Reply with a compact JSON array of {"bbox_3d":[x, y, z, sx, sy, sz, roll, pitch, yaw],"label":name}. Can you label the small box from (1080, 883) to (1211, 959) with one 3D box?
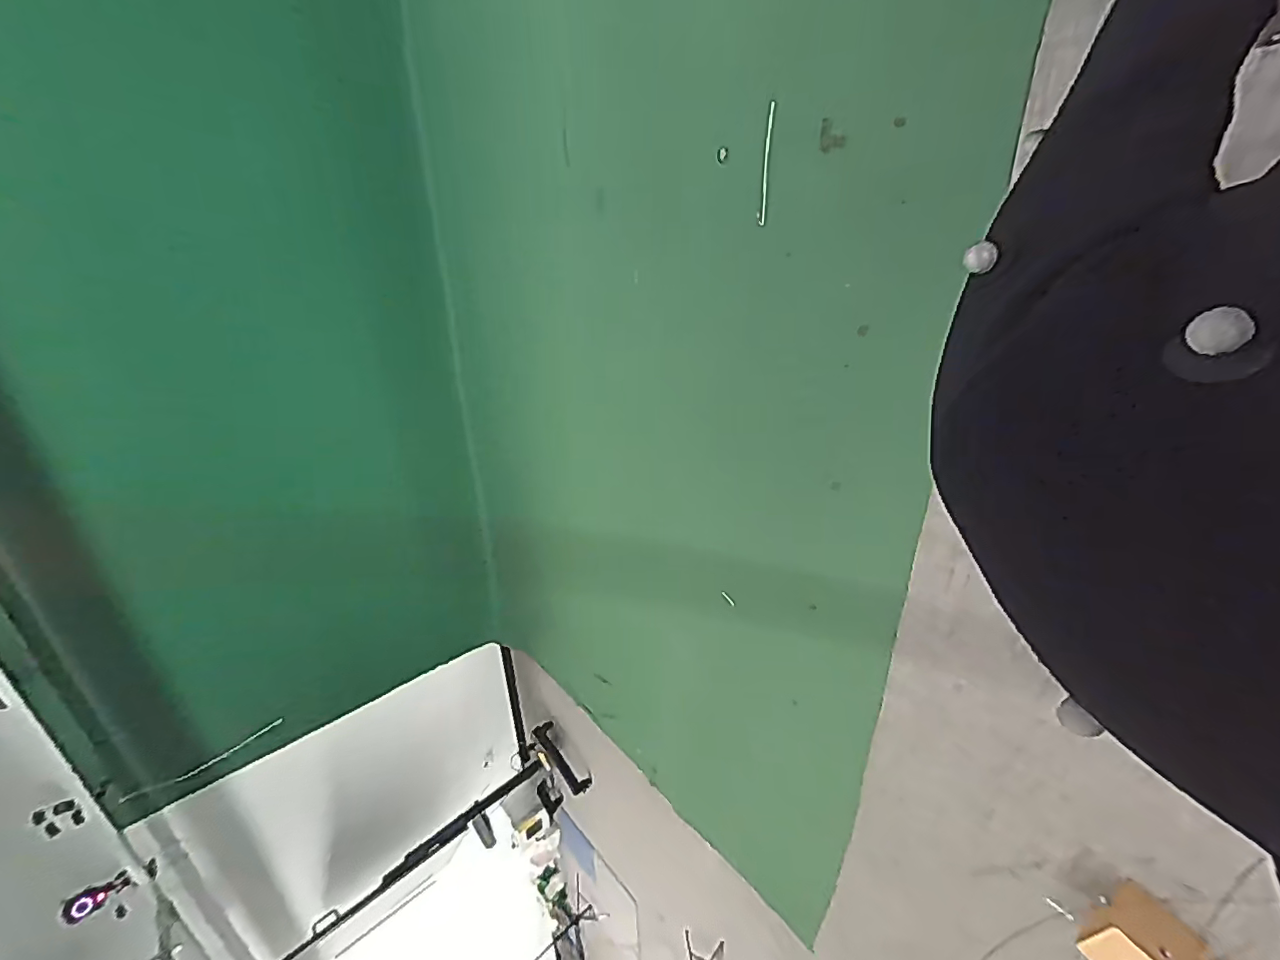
[{"bbox_3d":[1.283,1.185,1.370,0.179,0.176,0.168,40,135,35],"label":"small box"}]
